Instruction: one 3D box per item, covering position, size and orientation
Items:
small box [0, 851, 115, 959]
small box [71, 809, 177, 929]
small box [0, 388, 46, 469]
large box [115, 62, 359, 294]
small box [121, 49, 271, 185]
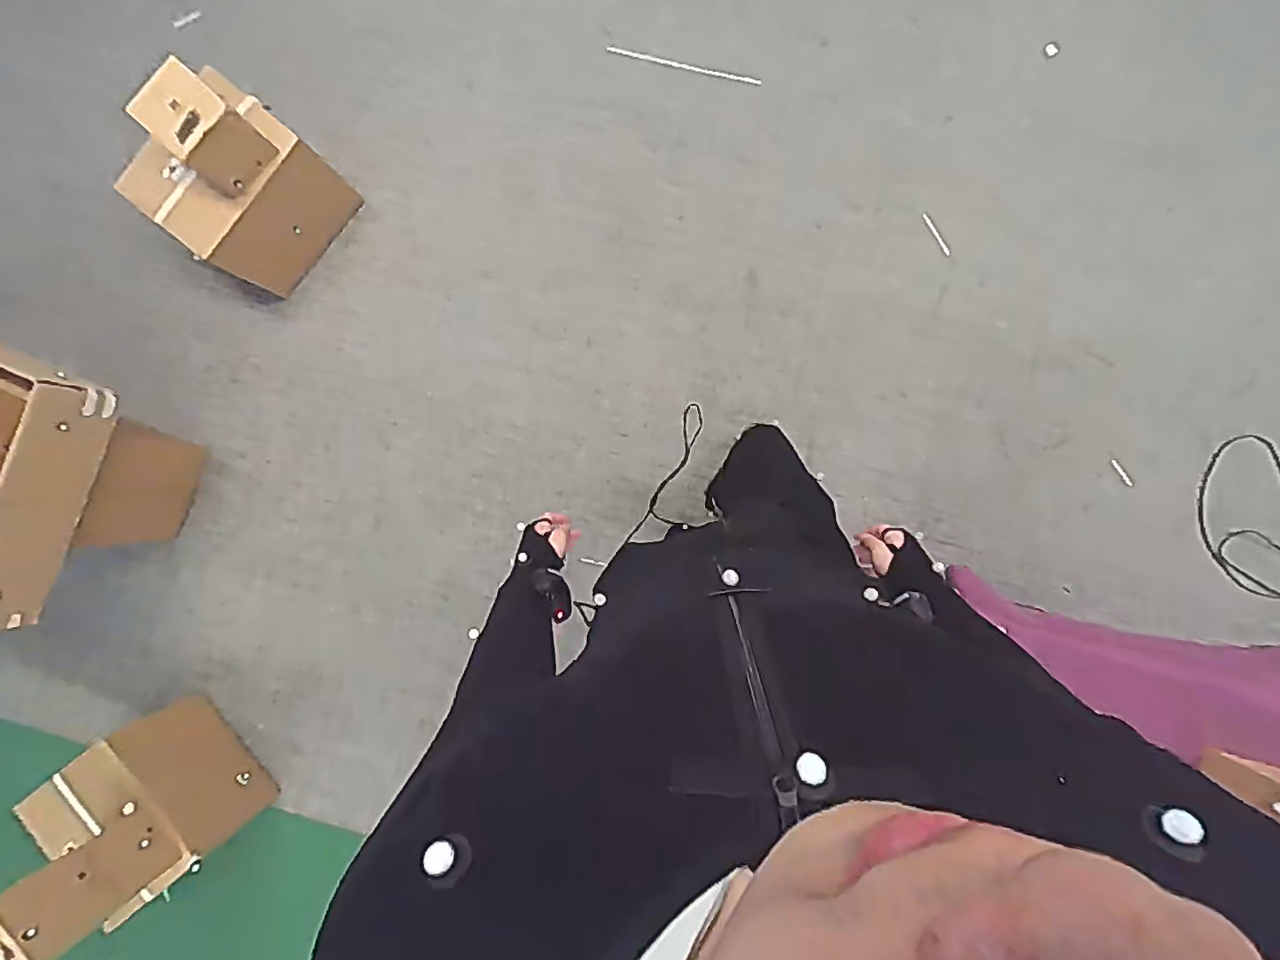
[{"bbox_3d":[-1.271,0.933,1.119,0.179,0.176,0.168,-40,89,1],"label":"small box"},{"bbox_3d":[-1.274,0.940,1.283,0.179,0.176,0.168,-40,89,0],"label":"small box"},{"bbox_3d":[-1.493,-0.126,1.181,0.179,0.176,0.168,23,91,0],"label":"small box"},{"bbox_3d":[-1.094,-0.812,1.515,0.320,0.320,0.408,39,92,2],"label":"large box"},{"bbox_3d":[-1.025,-0.831,1.267,0.179,0.176,0.168,43,91,0],"label":"small box"}]
